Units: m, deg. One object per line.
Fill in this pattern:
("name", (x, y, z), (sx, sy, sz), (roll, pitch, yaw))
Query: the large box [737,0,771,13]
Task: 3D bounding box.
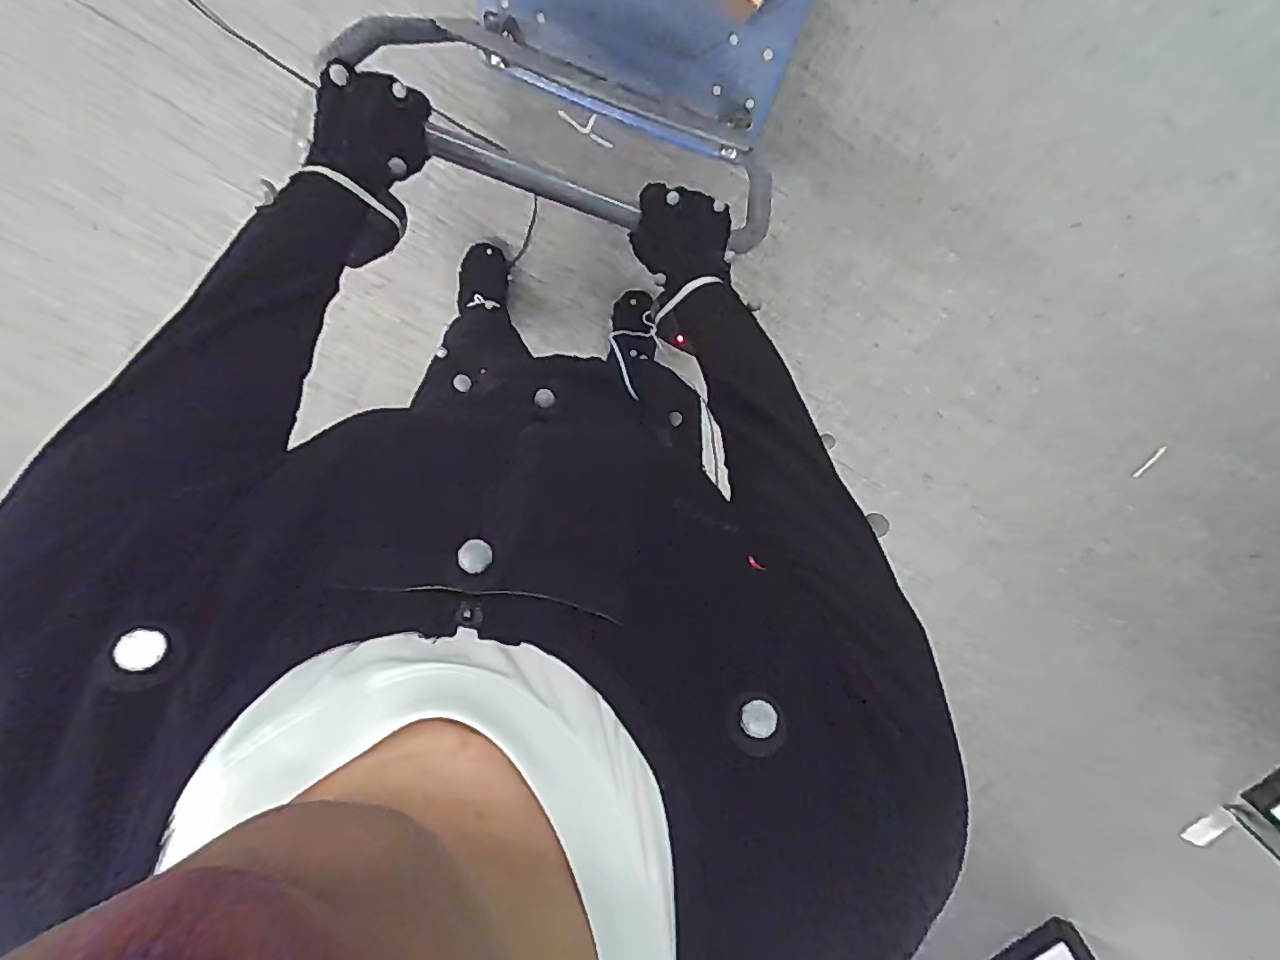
("large box", (0.110, -0.936, 0.723), (0.408, 0.320, 0.320), (32, 124, -16))
